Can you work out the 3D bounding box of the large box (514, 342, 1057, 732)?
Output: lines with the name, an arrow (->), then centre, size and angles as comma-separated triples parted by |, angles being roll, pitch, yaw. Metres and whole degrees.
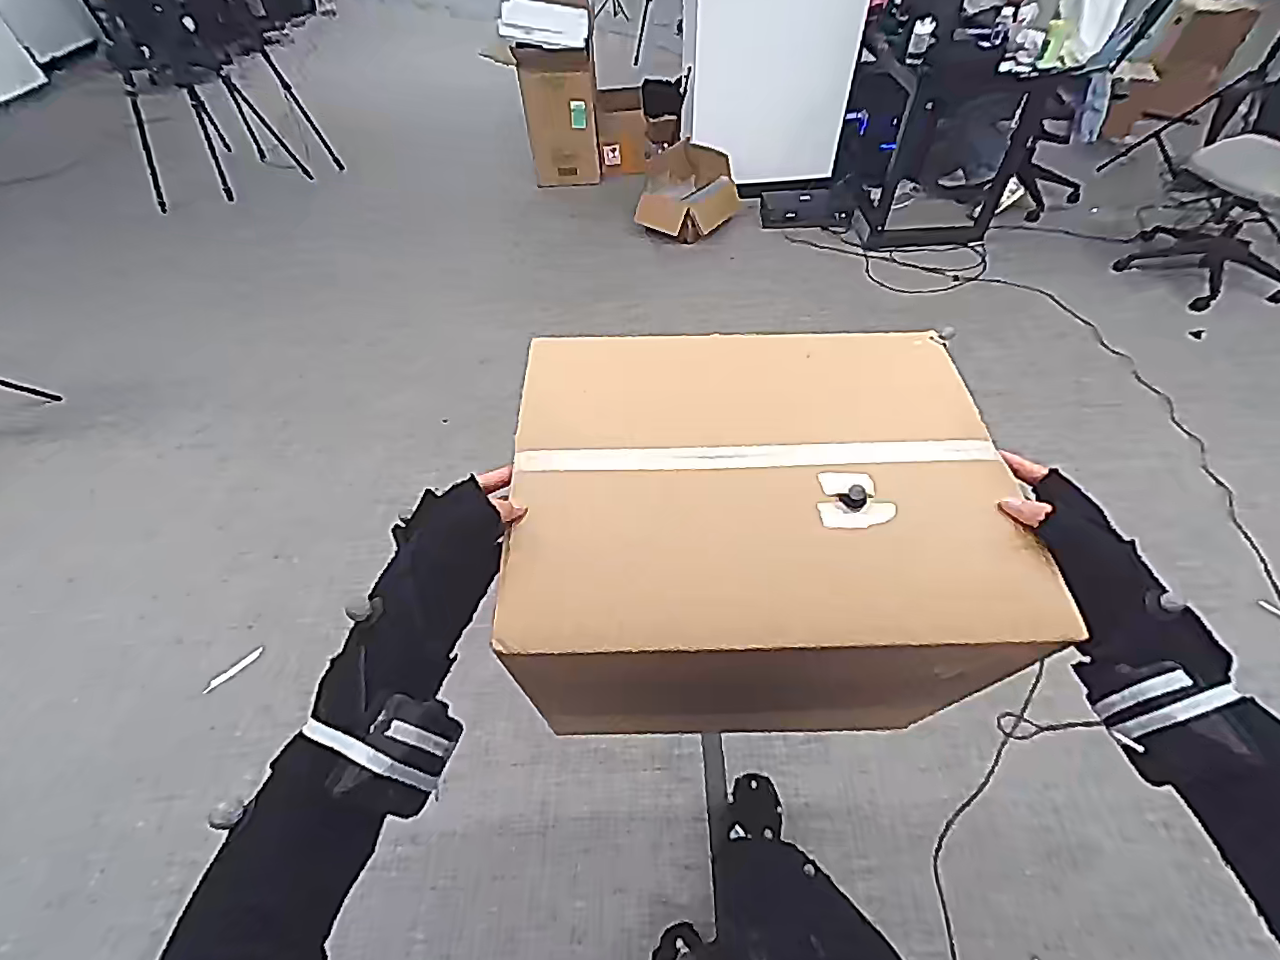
large box -> 0.099, 0.073, 0.591 | 0.408, 0.320, 0.320 | -1, 56, -1
